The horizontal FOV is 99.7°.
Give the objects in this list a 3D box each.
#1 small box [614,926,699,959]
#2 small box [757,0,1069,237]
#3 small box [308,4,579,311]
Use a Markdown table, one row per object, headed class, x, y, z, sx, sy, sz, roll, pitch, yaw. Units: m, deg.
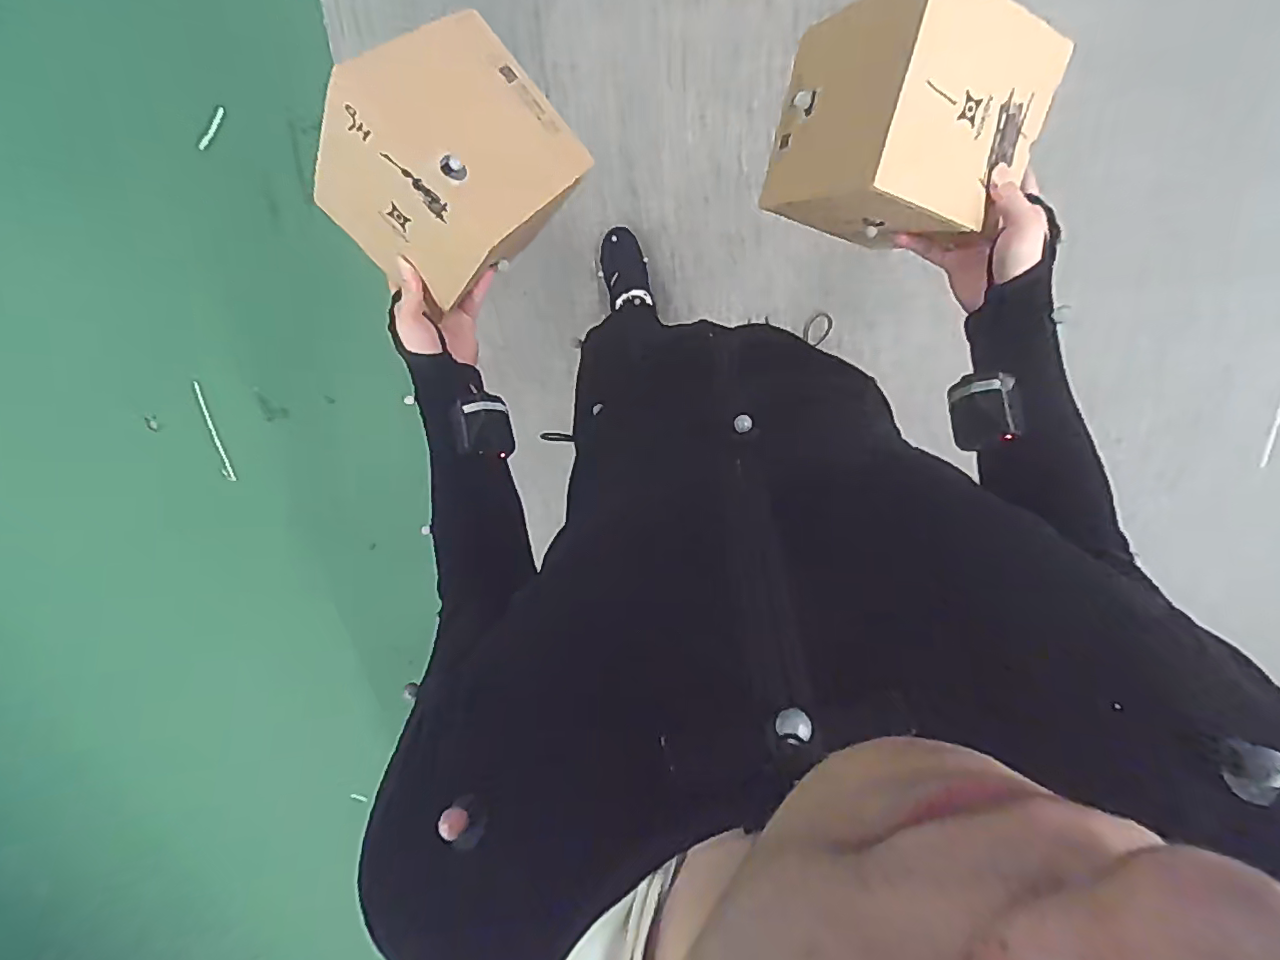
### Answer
| class | x | y | z | sx | sy | sz | roll | pitch | yaw |
| --- | --- | --- | --- | --- | --- | --- | --- | --- | --- |
| small box | 0.036 | 1.004 | 1.048 | 0.168 | 0.176 | 0.179 | -5 | 112 | 4 |
| small box | 0.246 | -0.343 | 0.521 | 0.179 | 0.176 | 0.168 | 6 | 107 | -24 |
| small box | -0.191 | -0.309 | 0.539 | 0.168 | 0.176 | 0.179 | 47 | 148 | -19 |
